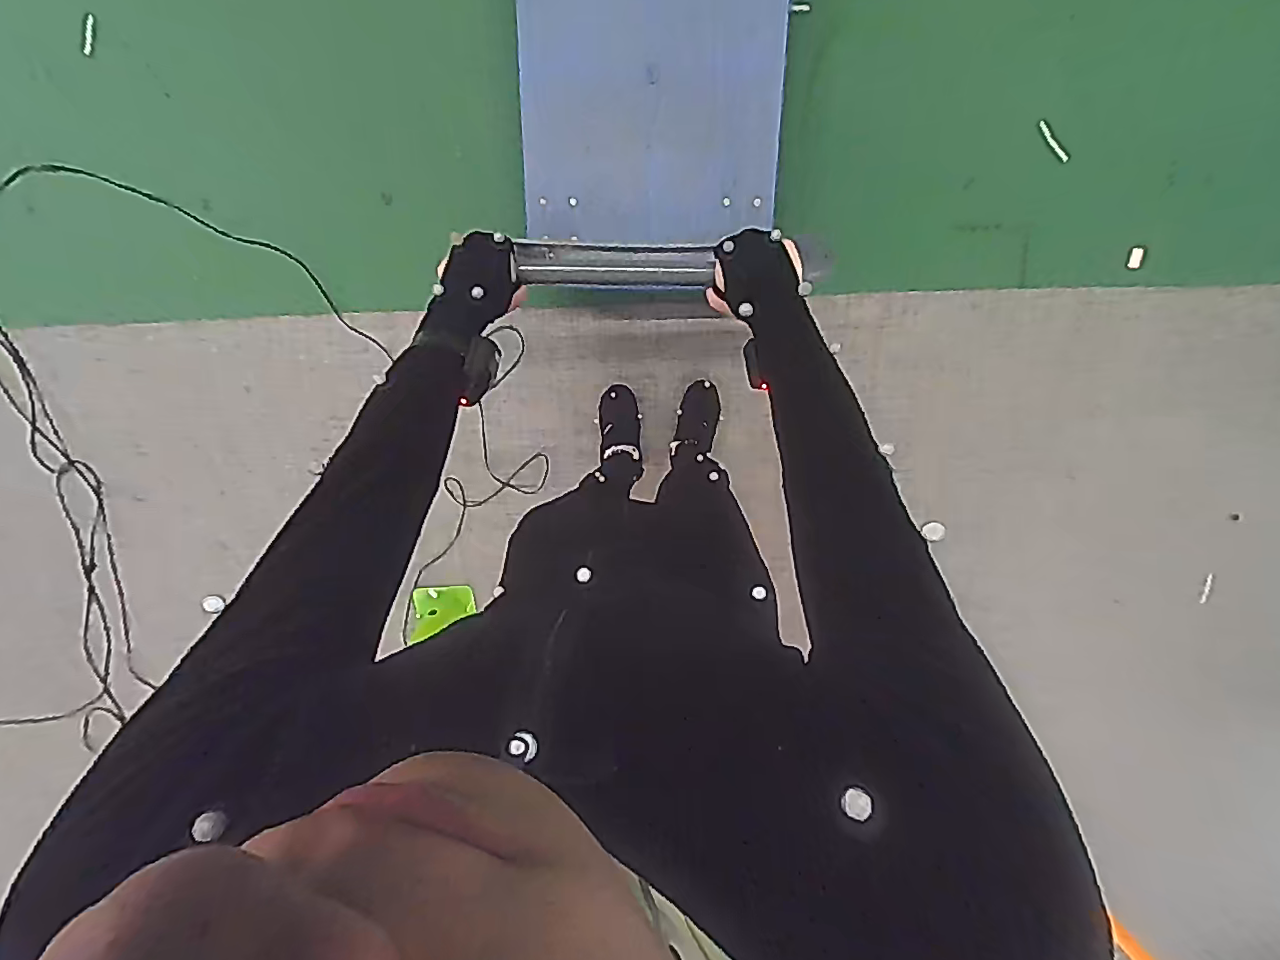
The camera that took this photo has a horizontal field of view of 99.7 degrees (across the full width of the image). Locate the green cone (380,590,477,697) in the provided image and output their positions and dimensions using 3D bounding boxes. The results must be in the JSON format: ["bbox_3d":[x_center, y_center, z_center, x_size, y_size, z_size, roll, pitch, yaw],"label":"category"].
[{"bbox_3d":[-0.652,0.500,1.598,0.202,0.368,0.200,-4,107,5],"label":"green cone"}]
